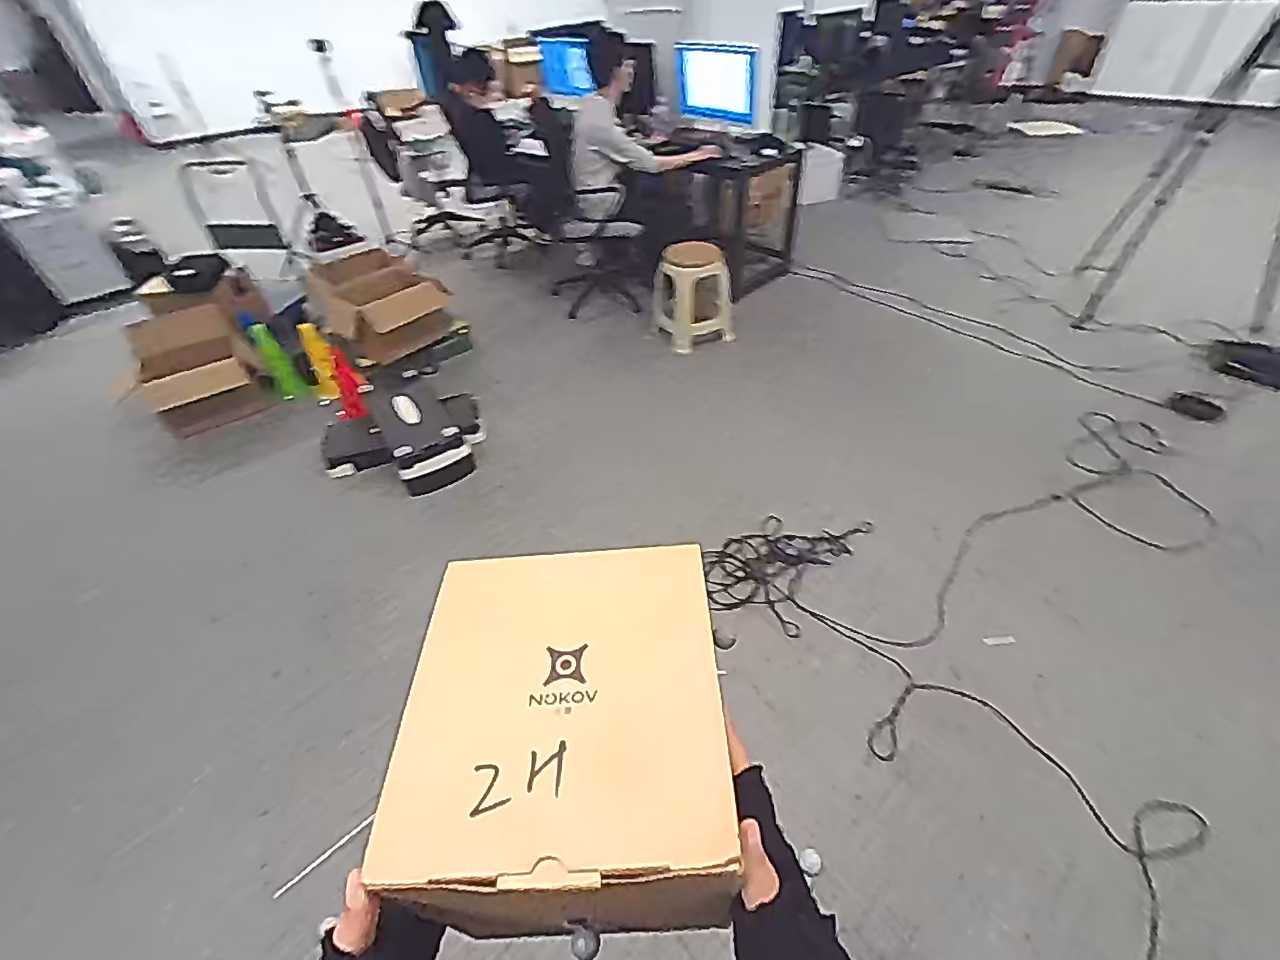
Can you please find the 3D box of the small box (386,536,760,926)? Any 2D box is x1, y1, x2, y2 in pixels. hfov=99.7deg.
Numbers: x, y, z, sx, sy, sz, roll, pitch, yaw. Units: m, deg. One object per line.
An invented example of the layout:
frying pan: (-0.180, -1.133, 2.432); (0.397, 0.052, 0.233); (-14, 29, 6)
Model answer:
small box: (-0.024, 0.158, 0.344); (0.168, 0.176, 0.179); (-4, 43, 3)
